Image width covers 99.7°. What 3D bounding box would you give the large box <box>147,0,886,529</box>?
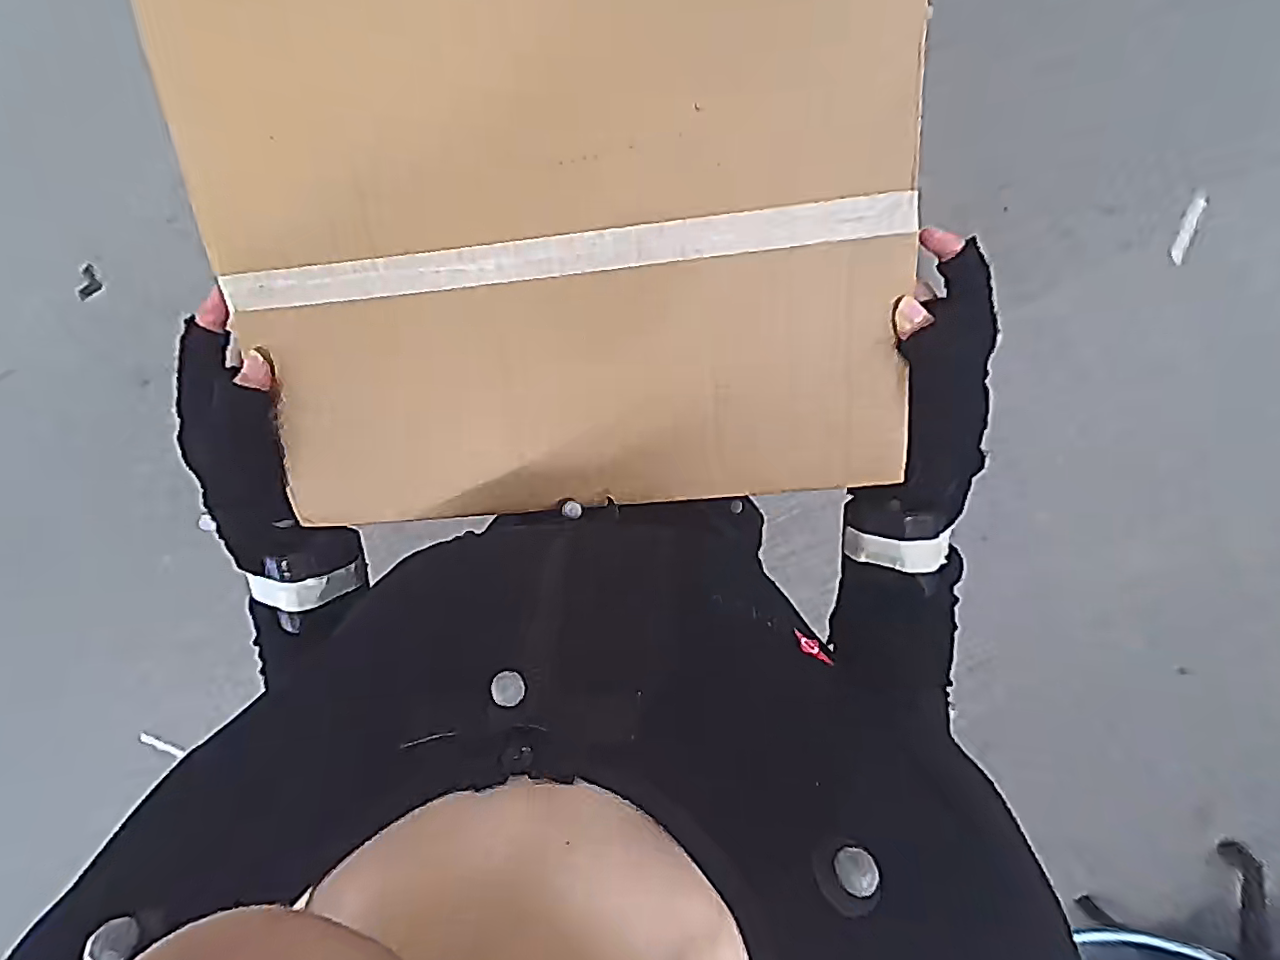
[{"bbox_3d":[-0.048,-0.178,0.465,0.408,0.320,0.320,-6,107,5],"label":"large box"}]
